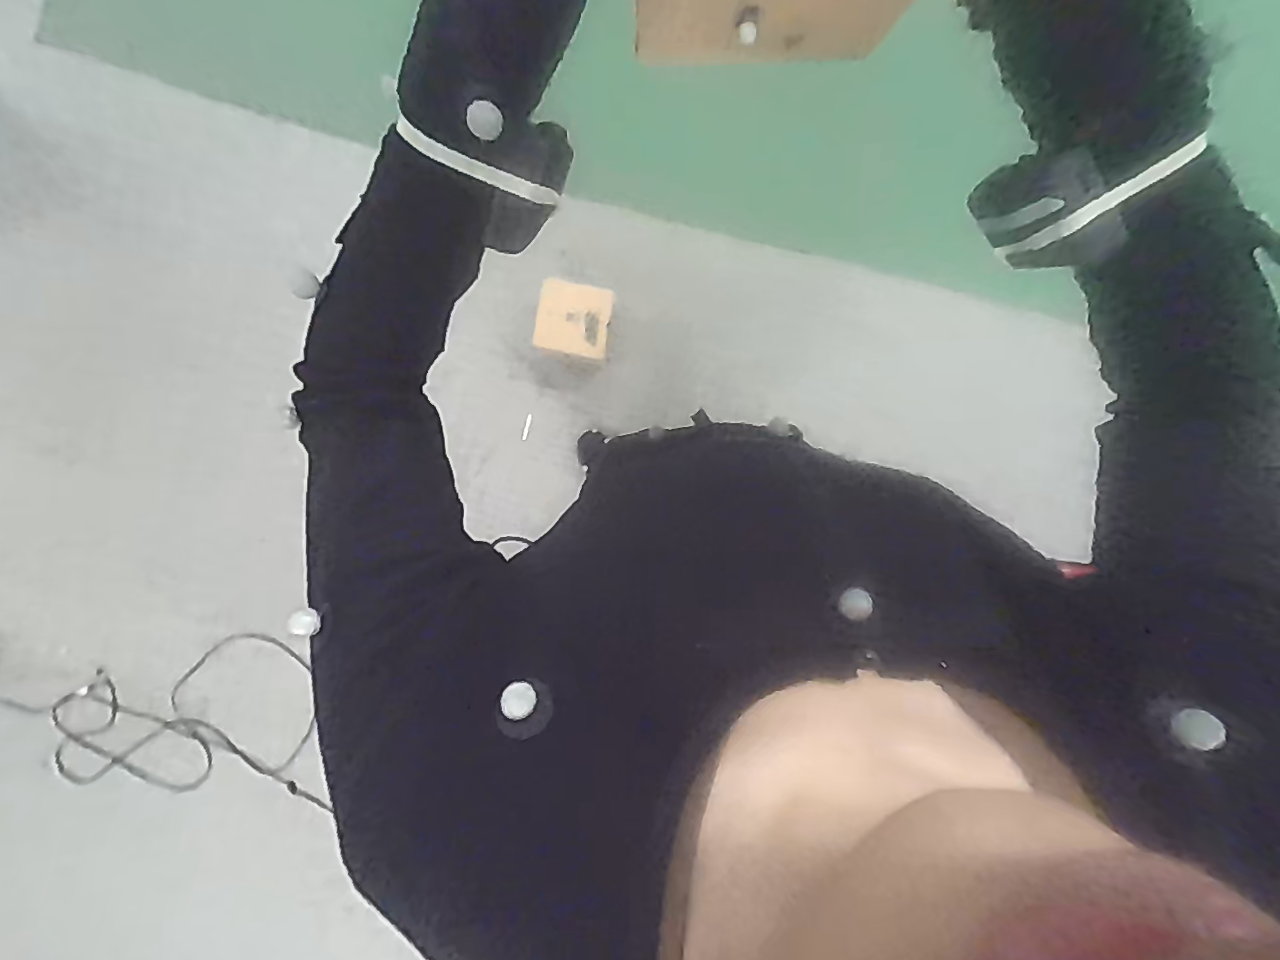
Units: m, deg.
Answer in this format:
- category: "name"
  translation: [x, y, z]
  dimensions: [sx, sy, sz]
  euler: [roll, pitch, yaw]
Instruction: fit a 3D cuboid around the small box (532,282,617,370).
- category: "small box"
  translation: [-0.156, -0.376, 1.353]
  dimensions: [0.179, 0.176, 0.168]
  euler: [11, 94, -2]
